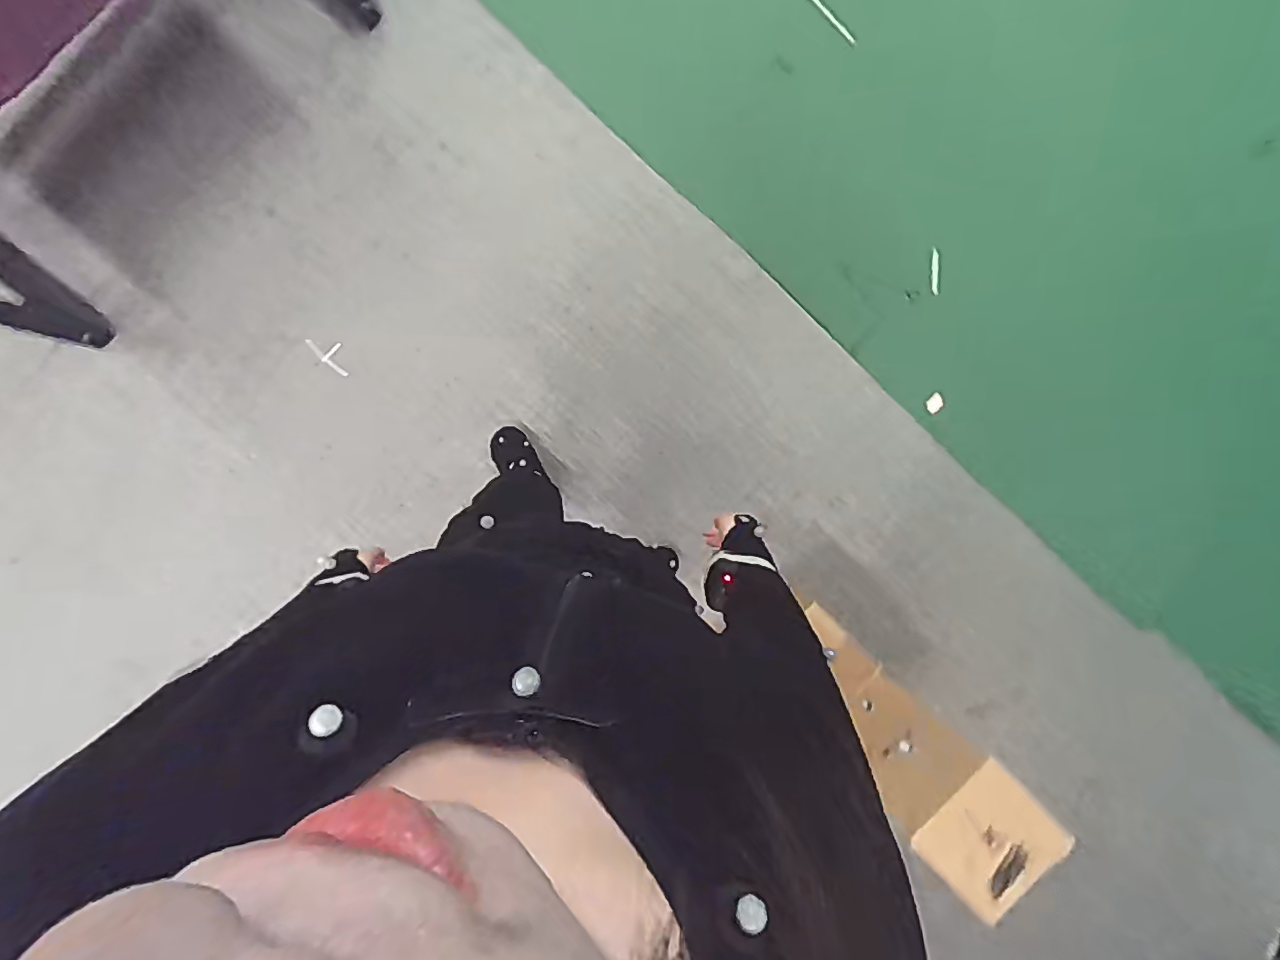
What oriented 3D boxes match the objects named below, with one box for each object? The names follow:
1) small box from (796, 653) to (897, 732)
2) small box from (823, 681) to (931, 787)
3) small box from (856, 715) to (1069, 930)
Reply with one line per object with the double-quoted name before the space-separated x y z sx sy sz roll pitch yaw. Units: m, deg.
"small box" 0.461 0.491 1.140 0.168 0.176 0.179 -43 94 -1
"small box" 0.469 0.501 0.976 0.168 0.176 0.179 -43 92 -1
"small box" 0.469 0.496 0.813 0.168 0.176 0.179 -43 92 -1
